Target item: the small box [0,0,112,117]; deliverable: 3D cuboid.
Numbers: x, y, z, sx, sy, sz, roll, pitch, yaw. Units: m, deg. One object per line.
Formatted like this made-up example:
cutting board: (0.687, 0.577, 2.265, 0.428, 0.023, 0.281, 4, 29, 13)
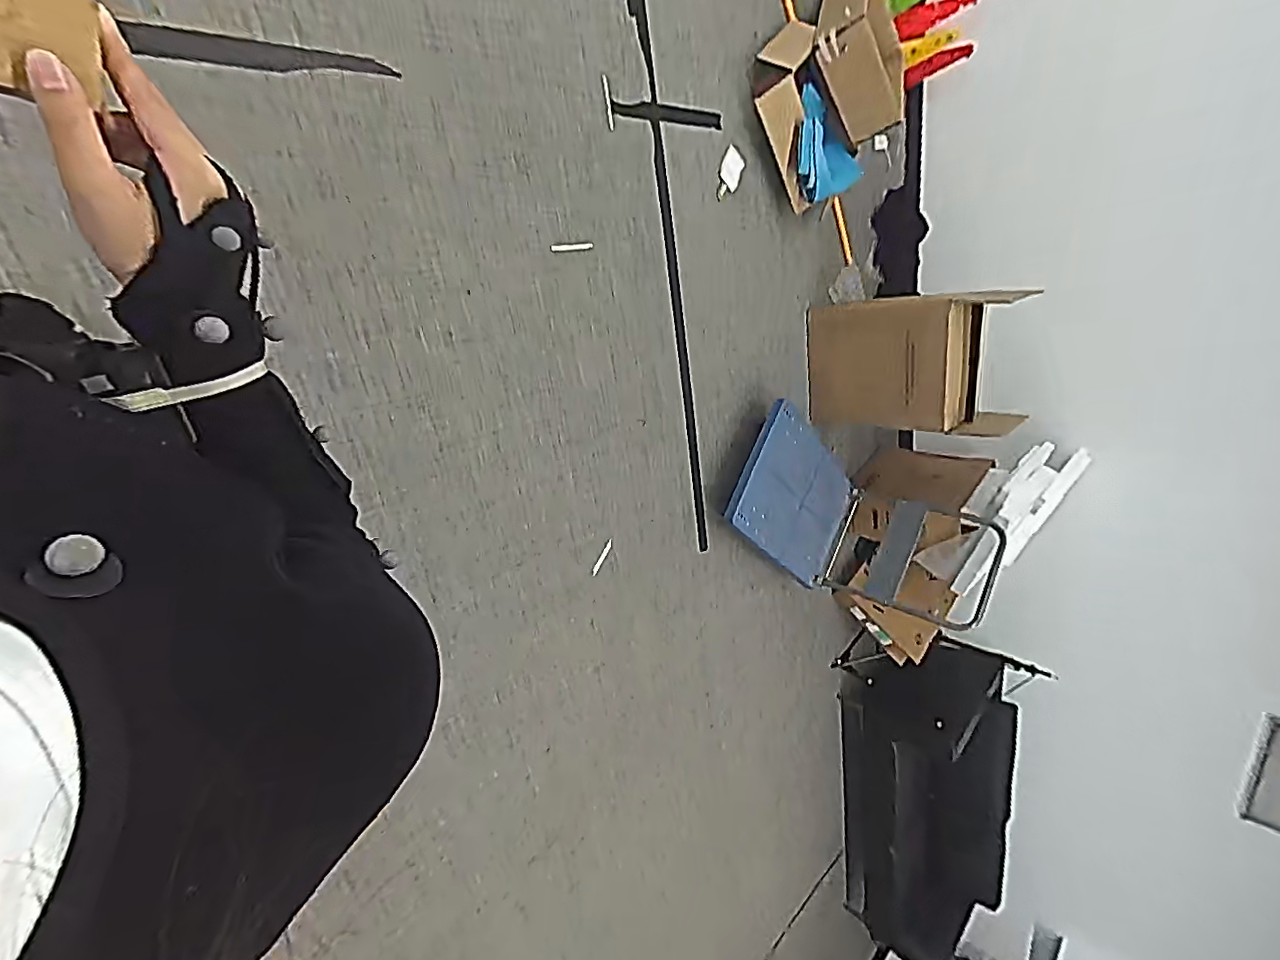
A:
small box: (-0.350, -0.283, 0.232, 0.168, 0.176, 0.179, -7, 118, -45)
